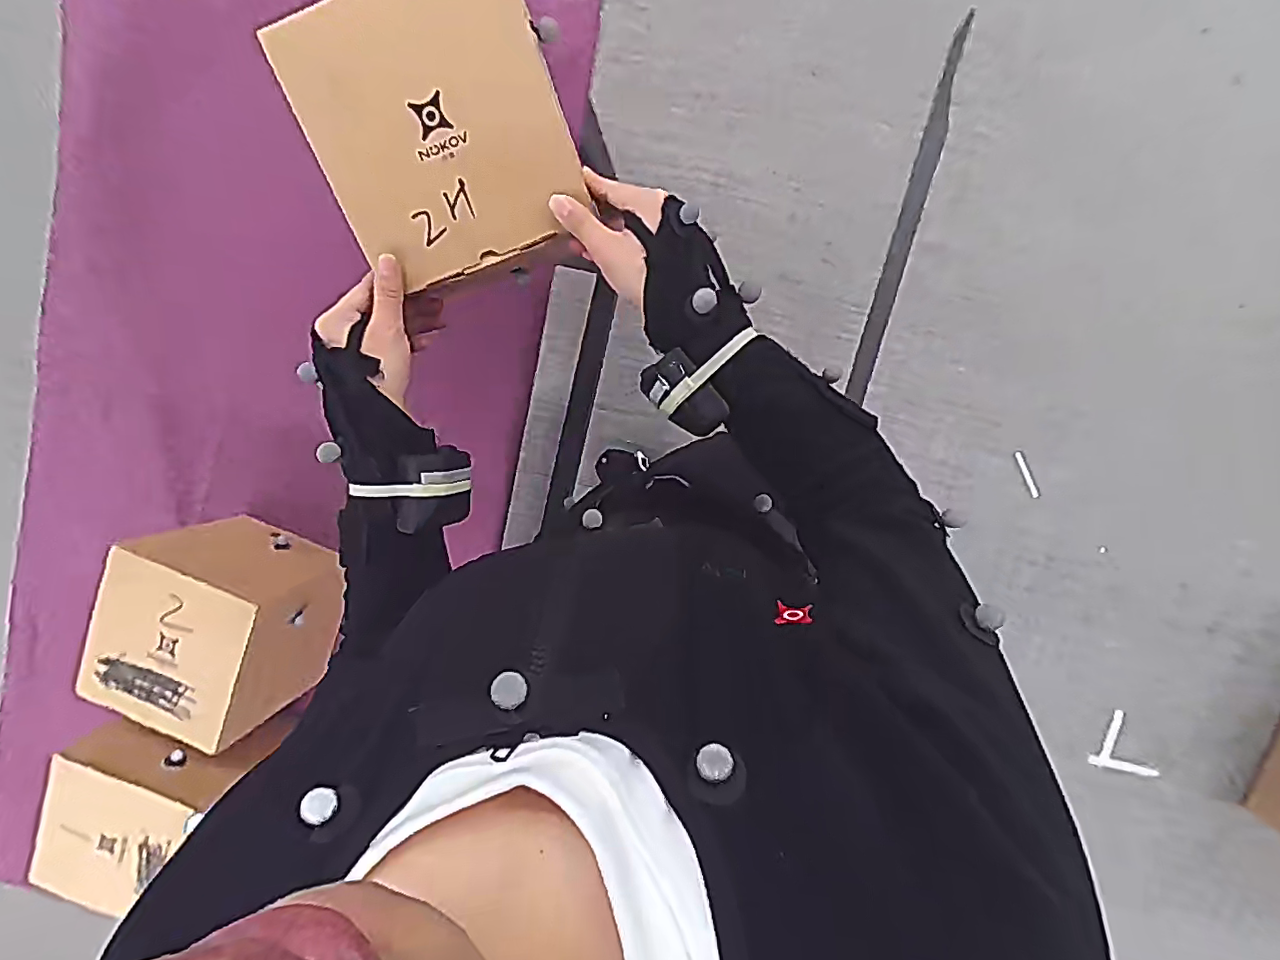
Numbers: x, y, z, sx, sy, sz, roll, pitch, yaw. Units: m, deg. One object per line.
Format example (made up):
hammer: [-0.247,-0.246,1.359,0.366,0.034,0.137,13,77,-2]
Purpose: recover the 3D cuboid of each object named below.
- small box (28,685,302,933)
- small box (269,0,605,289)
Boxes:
small box: [-0.556,0.380,0.657,0.179,0.176,0.168,19,98,2]
small box: [-0.133,-0.265,0.434,0.168,0.176,0.179,-18,108,5]
